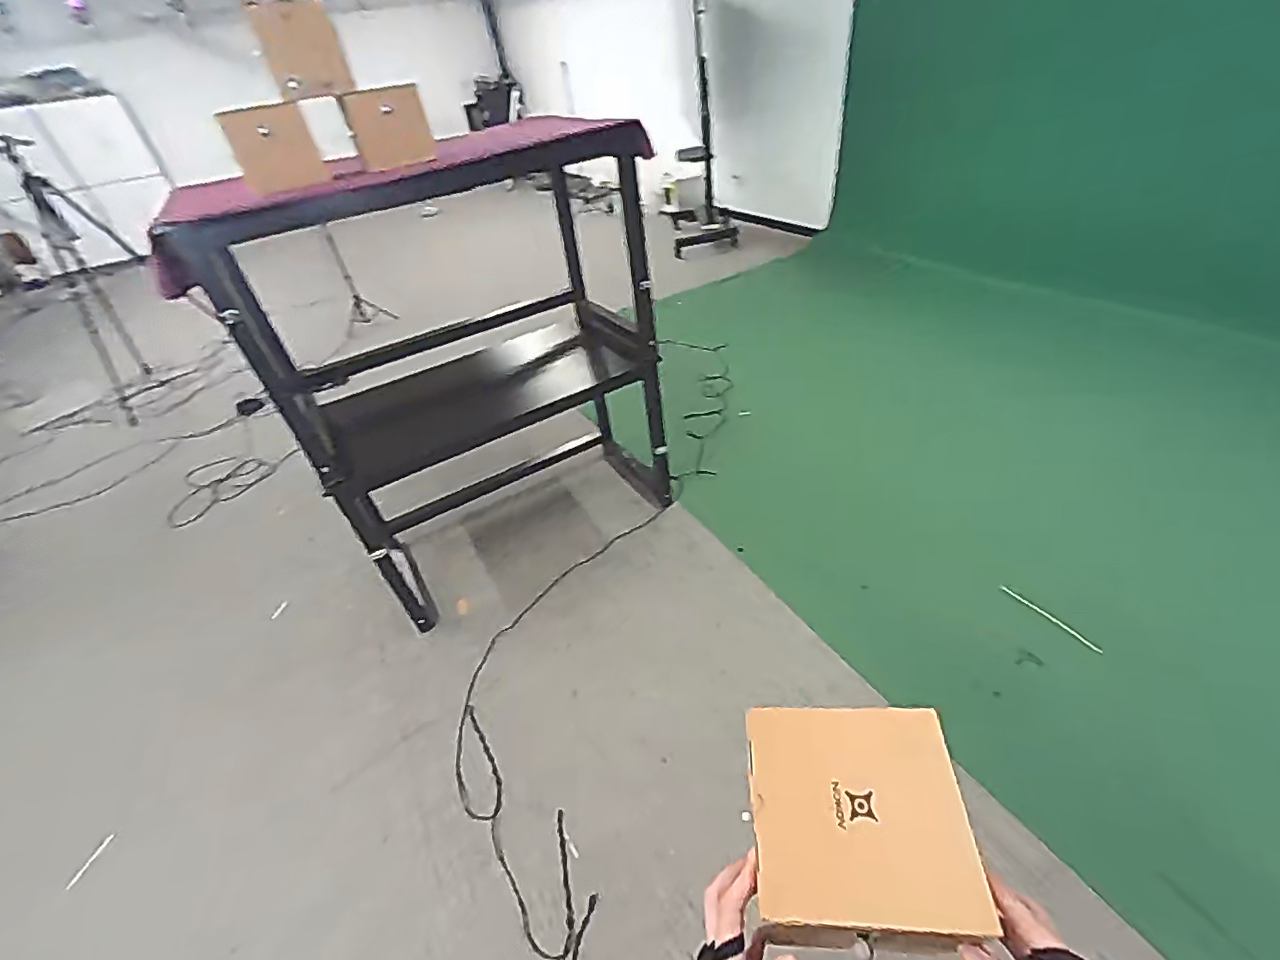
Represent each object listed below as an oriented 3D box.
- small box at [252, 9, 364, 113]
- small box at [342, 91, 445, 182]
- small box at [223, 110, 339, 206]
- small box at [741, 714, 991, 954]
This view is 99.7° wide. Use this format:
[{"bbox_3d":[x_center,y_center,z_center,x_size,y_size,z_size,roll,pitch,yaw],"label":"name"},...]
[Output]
[{"bbox_3d":[-0.764,-0.963,1.253,0.168,0.176,0.179,-24,40,-19],"label":"small box"},{"bbox_3d":[-0.630,-0.880,1.388,0.179,0.176,0.168,-26,41,-20],"label":"small box"},{"bbox_3d":[-0.862,-0.775,1.303,0.179,0.176,0.168,-27,43,-21],"label":"small box"},{"bbox_3d":[0.193,0.339,0.519,0.179,0.176,0.168,-6,45,10],"label":"small box"}]
